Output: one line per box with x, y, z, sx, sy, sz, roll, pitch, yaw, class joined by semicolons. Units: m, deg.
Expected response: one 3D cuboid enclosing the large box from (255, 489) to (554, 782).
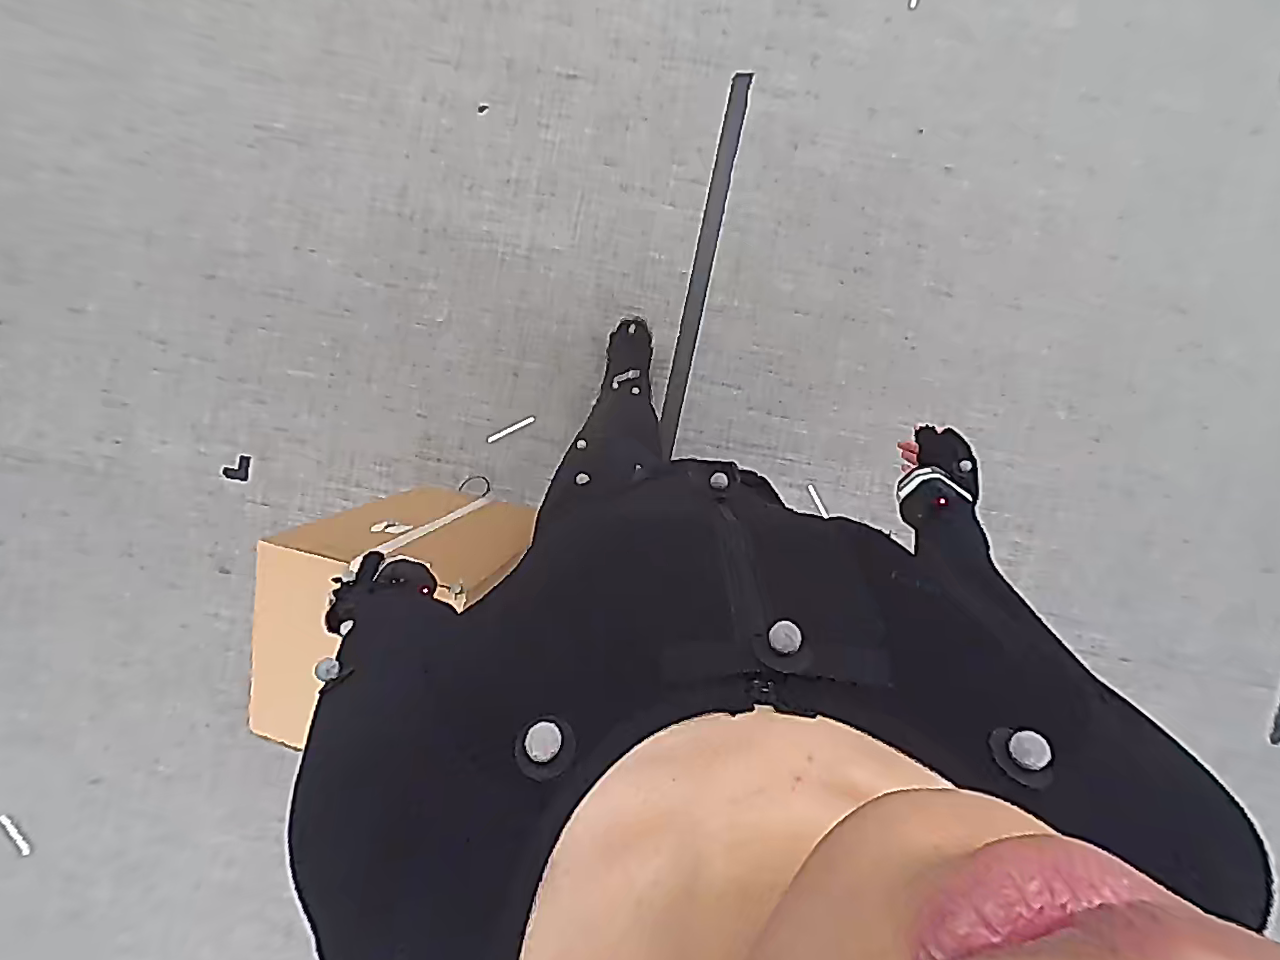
-0.379;0.229;0.955;0.320;0.408;0.320;11;102;9;large box
